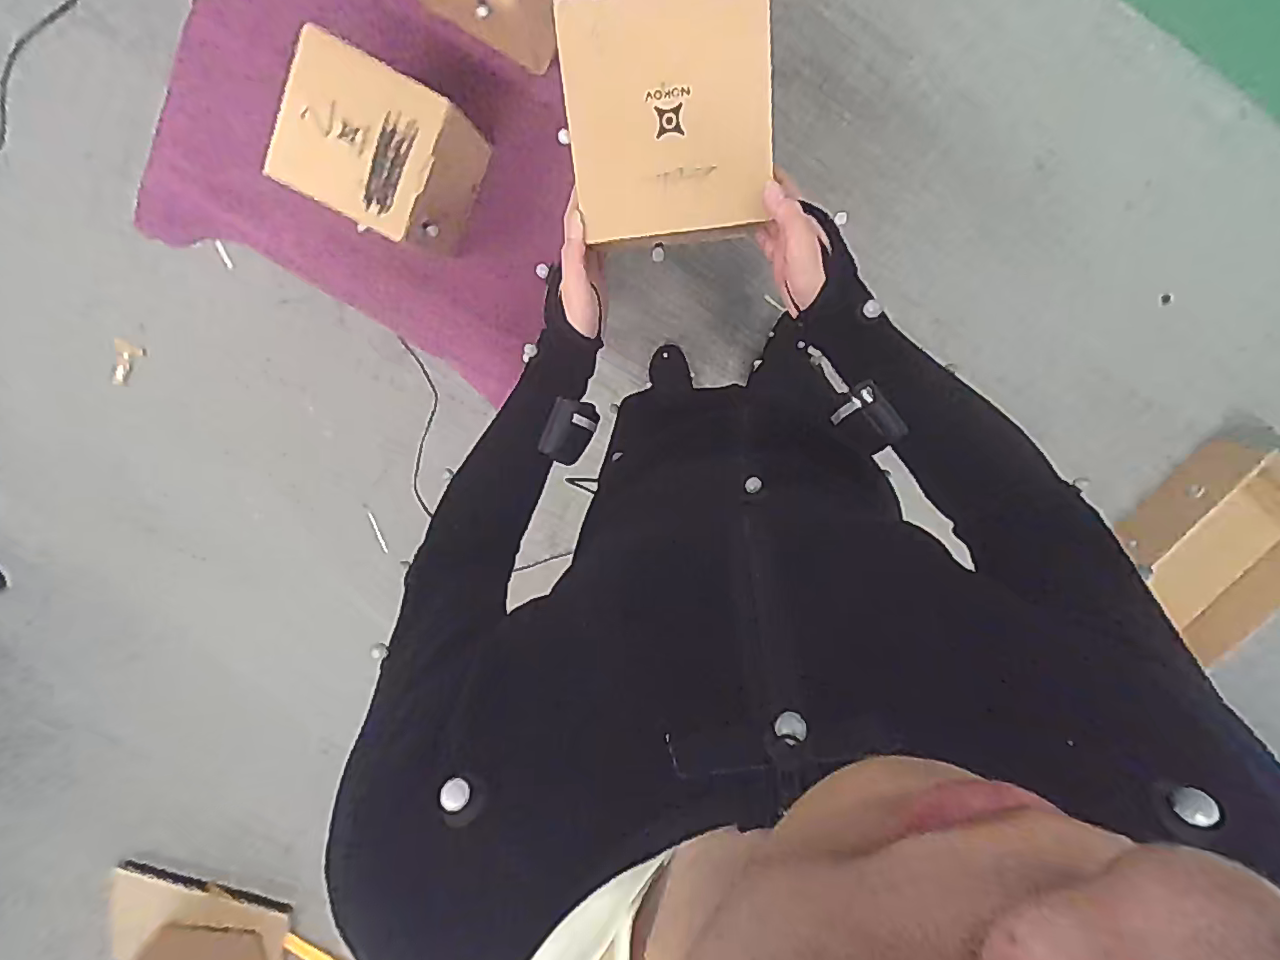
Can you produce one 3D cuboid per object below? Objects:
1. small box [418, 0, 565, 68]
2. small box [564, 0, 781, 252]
[{"bbox_3d":[-0.180,-0.631,0.625,0.179,0.176,0.168,27,104,-7],"label":"small box"},{"bbox_3d":[0.032,-0.318,0.502,0.168,0.176,0.179,-4,110,4],"label":"small box"}]
